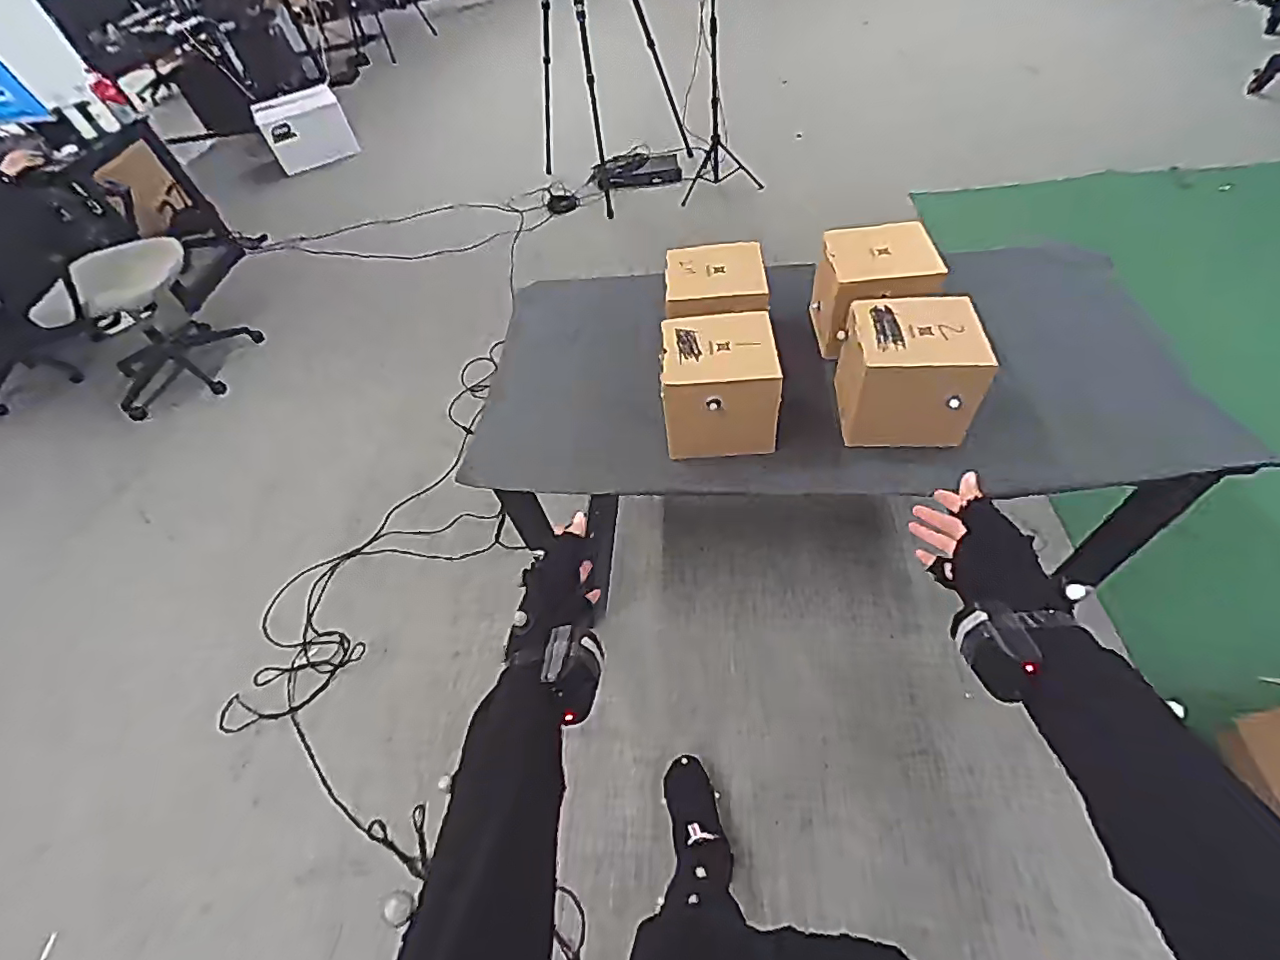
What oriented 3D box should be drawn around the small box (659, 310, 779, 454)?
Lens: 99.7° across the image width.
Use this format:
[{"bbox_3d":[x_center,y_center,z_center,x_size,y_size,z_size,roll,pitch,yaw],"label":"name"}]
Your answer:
[{"bbox_3d":[0.127,-0.156,0.892,0.179,0.176,0.168,-3,51,6],"label":"small box"}]
